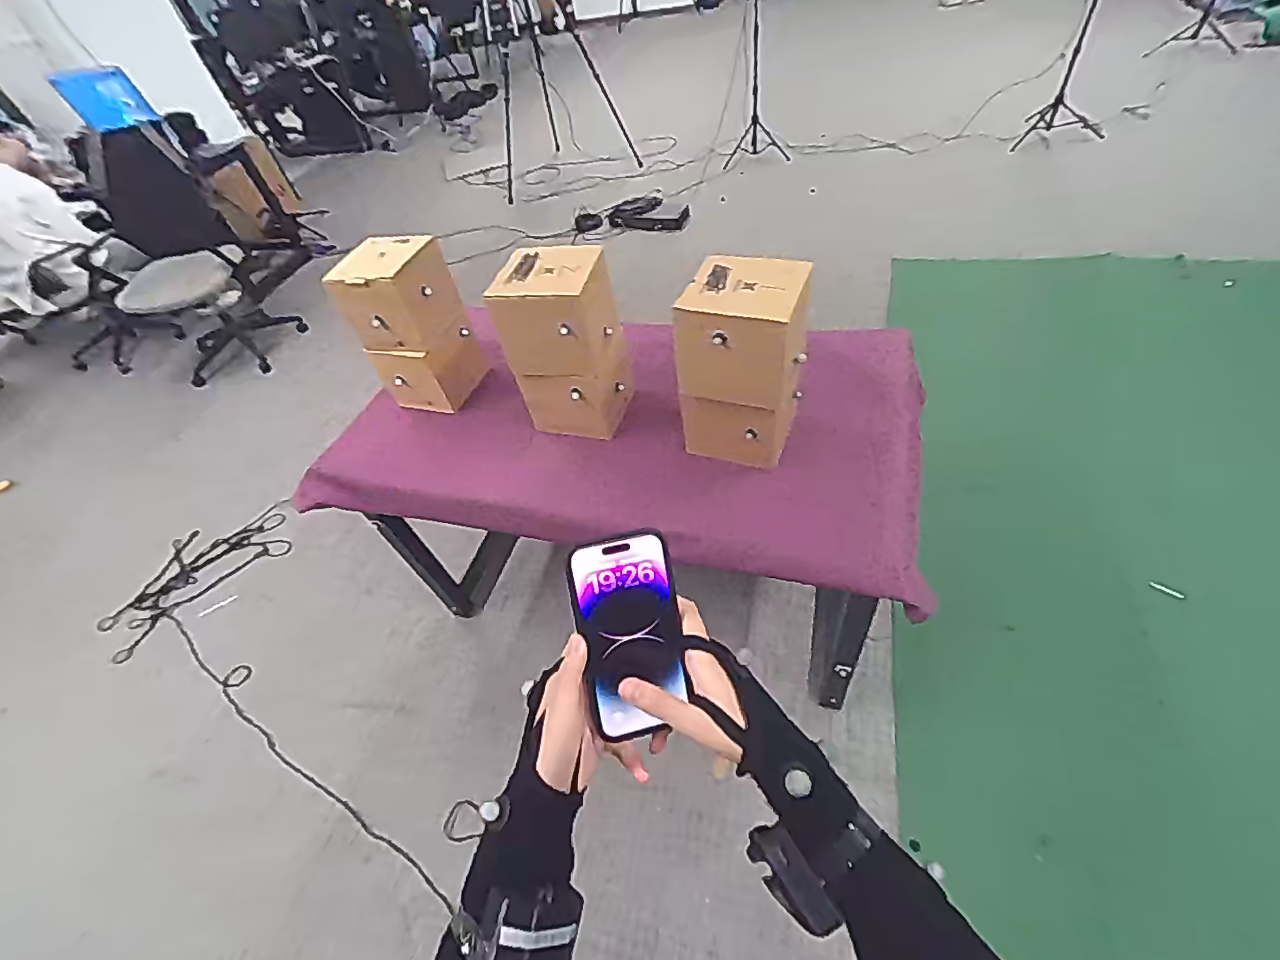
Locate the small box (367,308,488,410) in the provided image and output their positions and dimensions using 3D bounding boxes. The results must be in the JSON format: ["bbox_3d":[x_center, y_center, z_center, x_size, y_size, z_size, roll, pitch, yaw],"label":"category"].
[{"bbox_3d":[-0.482,-0.284,1.262,0.168,0.176,0.179,9,52,19],"label":"small box"}]

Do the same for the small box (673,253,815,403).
[{"bbox_3d":[0.170,-0.245,0.877,0.179,0.176,0.168,14,54,22],"label":"small box"}]

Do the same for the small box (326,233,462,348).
[{"bbox_3d":[-0.505,-0.397,1.144,0.168,0.176,0.179,6,52,15],"label":"small box"}]

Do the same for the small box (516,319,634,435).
[{"bbox_3d":[-0.123,-0.213,1.125,0.179,0.176,0.168,9,52,18],"label":"small box"}]

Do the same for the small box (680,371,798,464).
[{"bbox_3d":[0.192,-0.152,1.010,0.179,0.176,0.168,14,53,23],"label":"small box"}]
